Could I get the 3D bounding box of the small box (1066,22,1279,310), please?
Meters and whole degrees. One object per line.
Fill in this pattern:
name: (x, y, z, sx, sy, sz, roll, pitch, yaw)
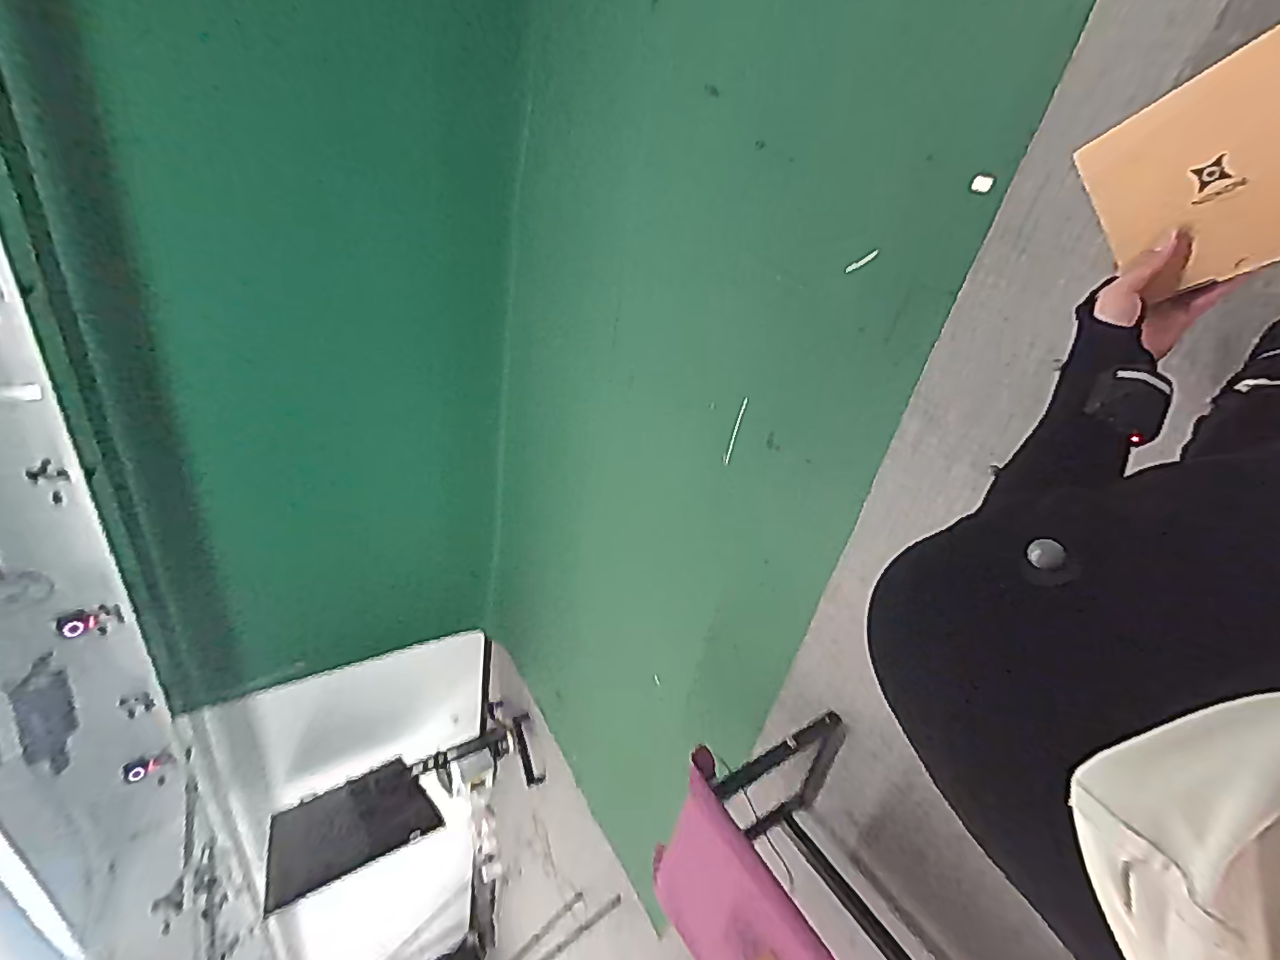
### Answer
small box: (0.566, -0.293, 0.519, 0.168, 0.176, 0.179, -23, 92, 62)
